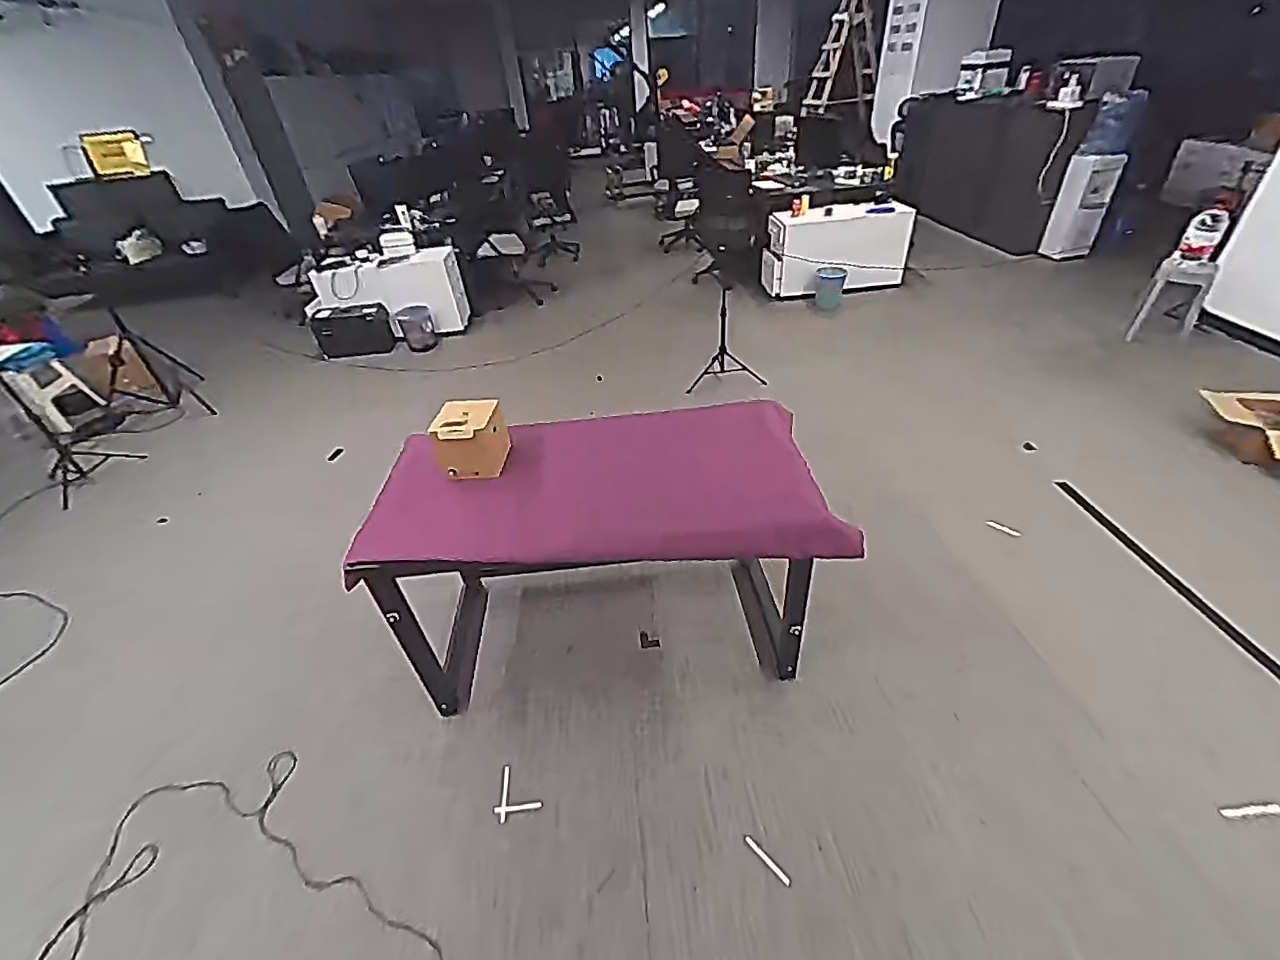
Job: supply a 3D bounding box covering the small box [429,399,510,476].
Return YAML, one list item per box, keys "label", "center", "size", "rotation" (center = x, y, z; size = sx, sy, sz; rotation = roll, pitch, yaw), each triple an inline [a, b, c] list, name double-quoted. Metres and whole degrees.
- label: "small box"
  center: [-0.497, -0.122, 1.605]
  size: [0.168, 0.176, 0.179]
  rotation: [-2, 38, 4]
